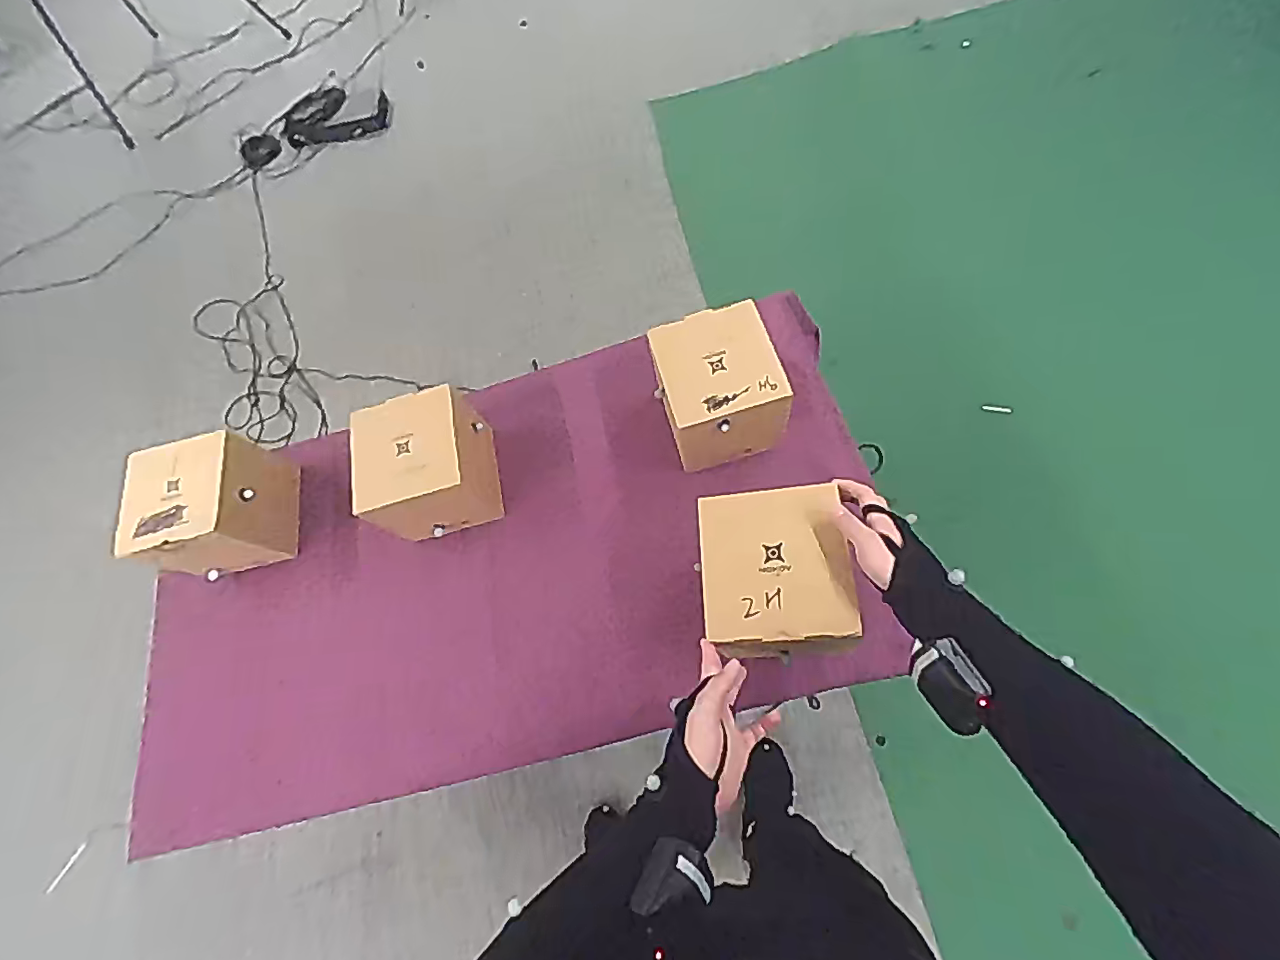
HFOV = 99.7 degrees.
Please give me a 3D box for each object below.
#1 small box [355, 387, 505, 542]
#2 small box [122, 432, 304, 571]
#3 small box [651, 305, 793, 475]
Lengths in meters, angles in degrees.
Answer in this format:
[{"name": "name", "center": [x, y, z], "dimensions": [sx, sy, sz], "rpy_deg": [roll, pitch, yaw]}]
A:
[{"name": "small box", "center": [-0.333, -0.017, 0.874], "dimensions": [0.168, 0.176, 0.179], "rpy_deg": [-15, 67, 4]}, {"name": "small box", "center": [-0.695, 0.047, 0.902], "dimensions": [0.168, 0.176, 0.179], "rpy_deg": [-13, 68, 3]}, {"name": "small box", "center": [0.124, -0.133, 0.845], "dimensions": [0.168, 0.176, 0.179], "rpy_deg": [-17, 66, 3]}]
